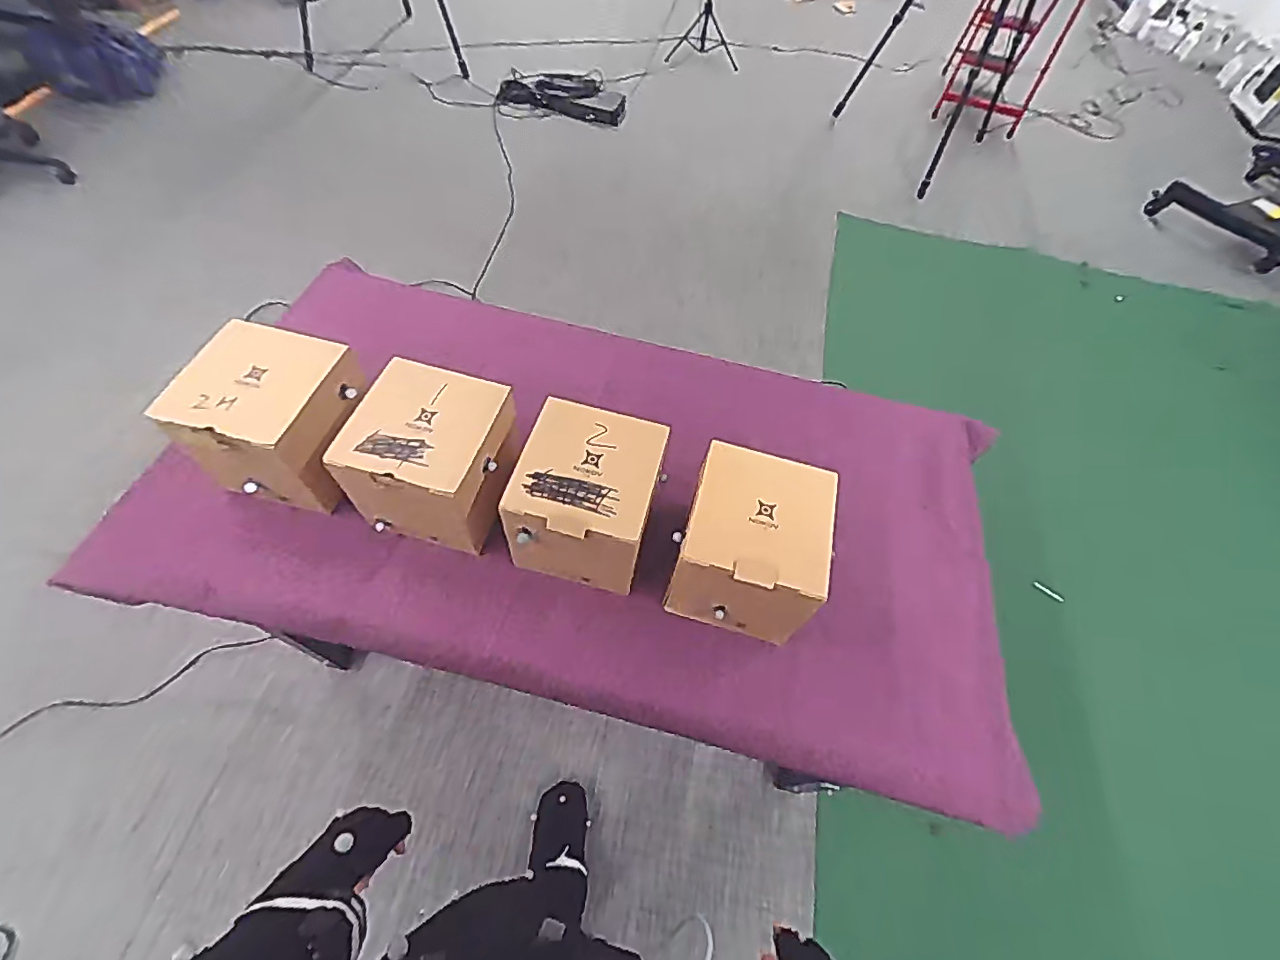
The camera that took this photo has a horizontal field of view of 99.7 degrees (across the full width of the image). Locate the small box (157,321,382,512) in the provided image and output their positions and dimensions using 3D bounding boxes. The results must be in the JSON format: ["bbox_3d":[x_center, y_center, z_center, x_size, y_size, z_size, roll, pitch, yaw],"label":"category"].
[{"bbox_3d":[-0.486,-0.084,0.751,0.168,0.176,0.179,14,58,3],"label":"small box"}]

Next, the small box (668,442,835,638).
[{"bbox_3d":[0.140,0.083,0.712,0.168,0.176,0.179,16,58,4],"label":"small box"}]
